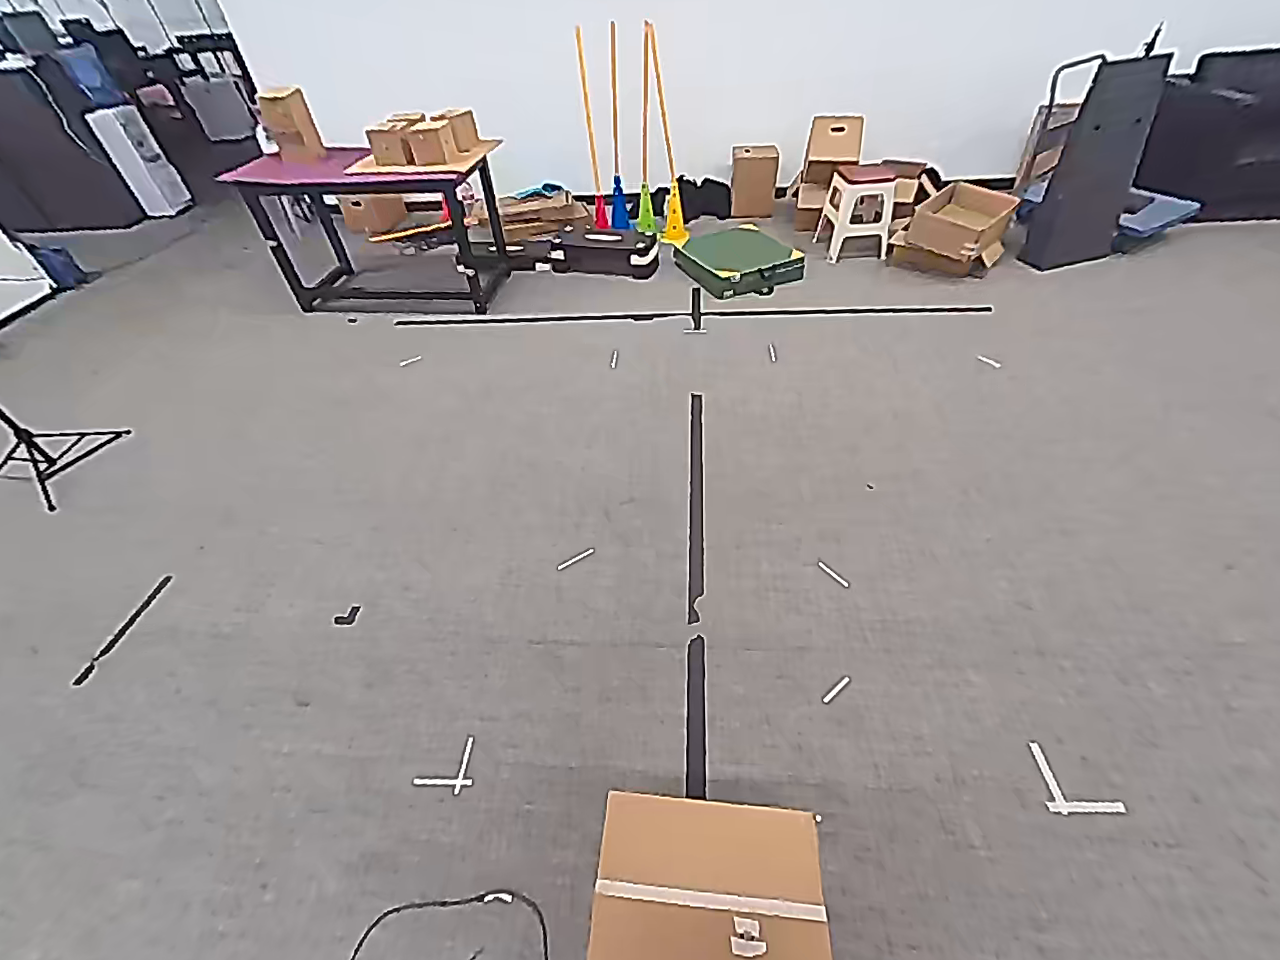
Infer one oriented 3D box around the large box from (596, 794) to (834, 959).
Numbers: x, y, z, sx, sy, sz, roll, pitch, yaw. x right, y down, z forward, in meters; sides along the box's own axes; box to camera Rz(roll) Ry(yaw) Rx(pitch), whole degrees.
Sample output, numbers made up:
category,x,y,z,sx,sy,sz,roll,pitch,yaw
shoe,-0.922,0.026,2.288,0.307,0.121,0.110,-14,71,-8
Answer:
category,x,y,z,sx,sy,sz,roll,pitch,yaw
large box,0.136,0.853,1.061,0.408,0.320,0.320,3,45,6
